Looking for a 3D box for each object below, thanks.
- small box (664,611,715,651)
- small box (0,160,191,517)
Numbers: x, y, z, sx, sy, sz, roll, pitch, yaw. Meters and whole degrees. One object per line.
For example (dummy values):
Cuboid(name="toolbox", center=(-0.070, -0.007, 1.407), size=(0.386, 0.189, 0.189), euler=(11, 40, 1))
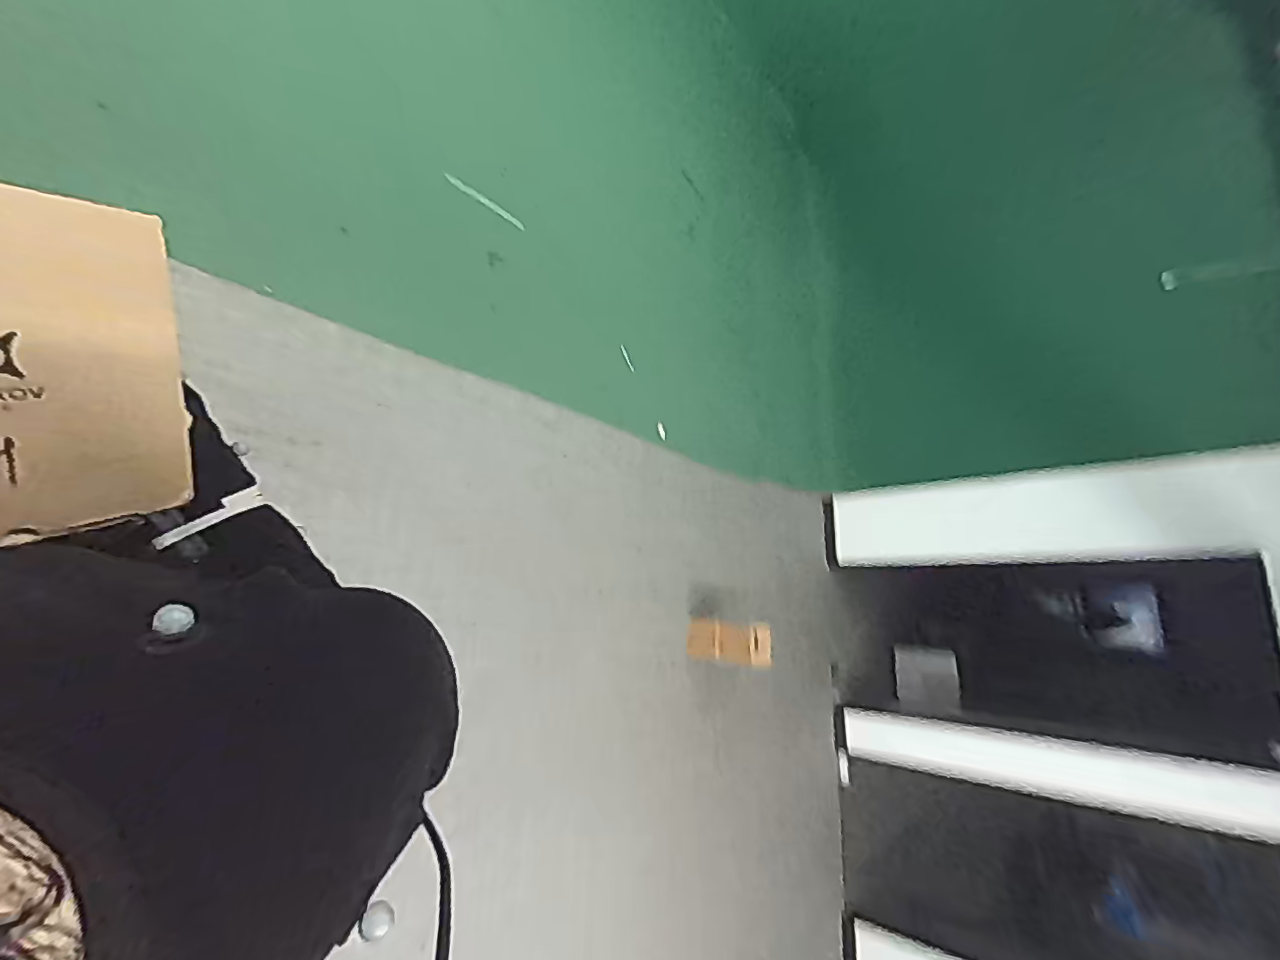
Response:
Cuboid(name="small box", center=(0.234, 0.708, 2.537), size=(0.179, 0.176, 0.168), euler=(24, 65, -46))
Cuboid(name="small box", center=(-0.390, -0.079, 0.287), size=(0.168, 0.176, 0.179), euler=(-28, 126, -70))
